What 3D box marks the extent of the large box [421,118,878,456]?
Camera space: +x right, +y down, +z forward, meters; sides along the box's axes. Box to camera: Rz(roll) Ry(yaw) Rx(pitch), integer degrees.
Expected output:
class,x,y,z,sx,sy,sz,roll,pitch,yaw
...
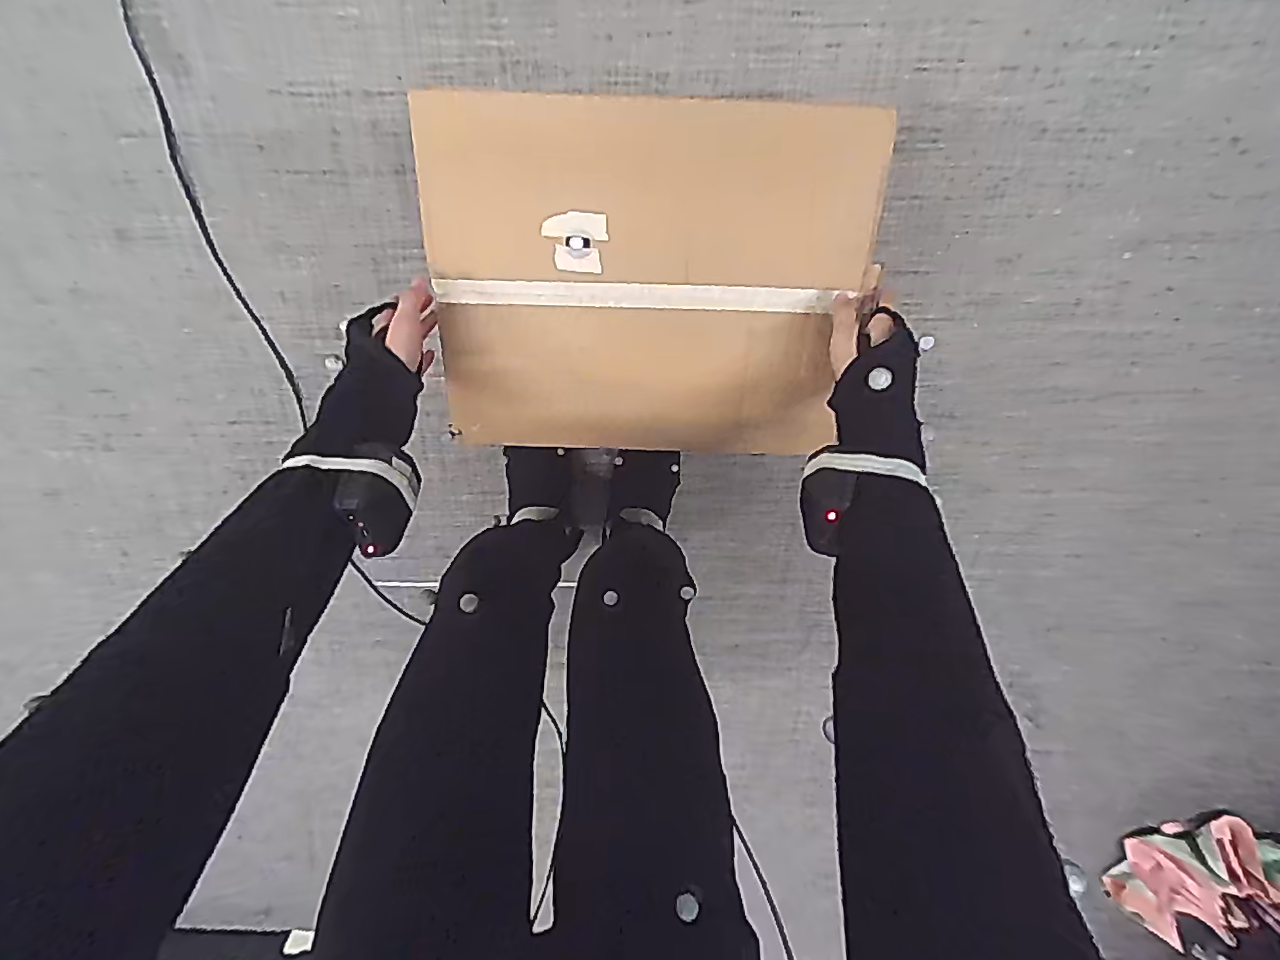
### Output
class,x,y,z,sx,sy,sz,roll,pitch,yaw
large box,0.010,-0.233,0.660,0.408,0.320,0.320,2,115,1
